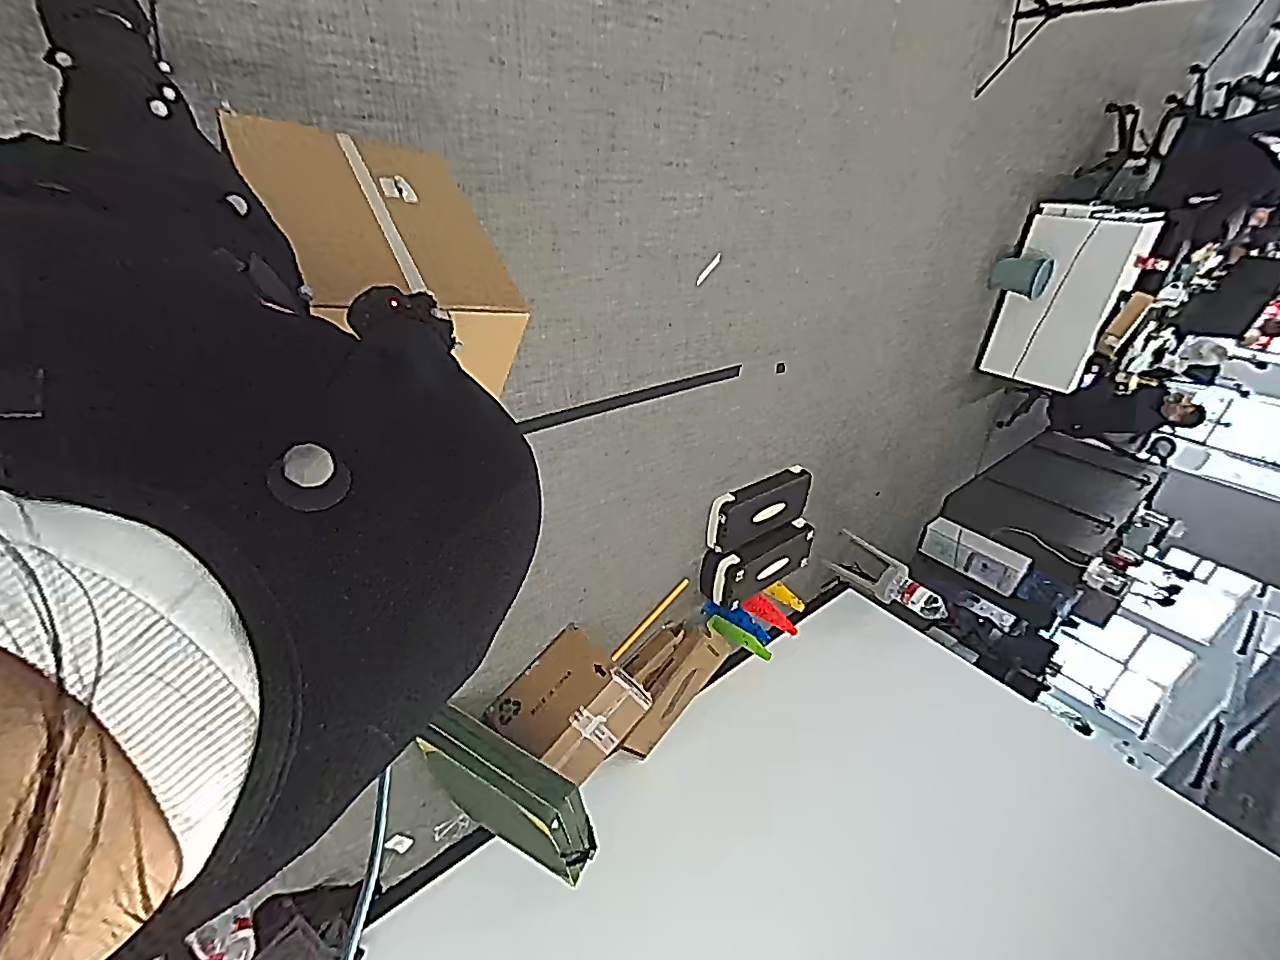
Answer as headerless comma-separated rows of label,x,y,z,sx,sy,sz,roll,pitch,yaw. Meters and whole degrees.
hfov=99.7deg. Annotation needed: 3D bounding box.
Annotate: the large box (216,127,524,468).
large box,-0.448,-0.284,0.887,0.320,0.408,0.320,-13,150,-40
